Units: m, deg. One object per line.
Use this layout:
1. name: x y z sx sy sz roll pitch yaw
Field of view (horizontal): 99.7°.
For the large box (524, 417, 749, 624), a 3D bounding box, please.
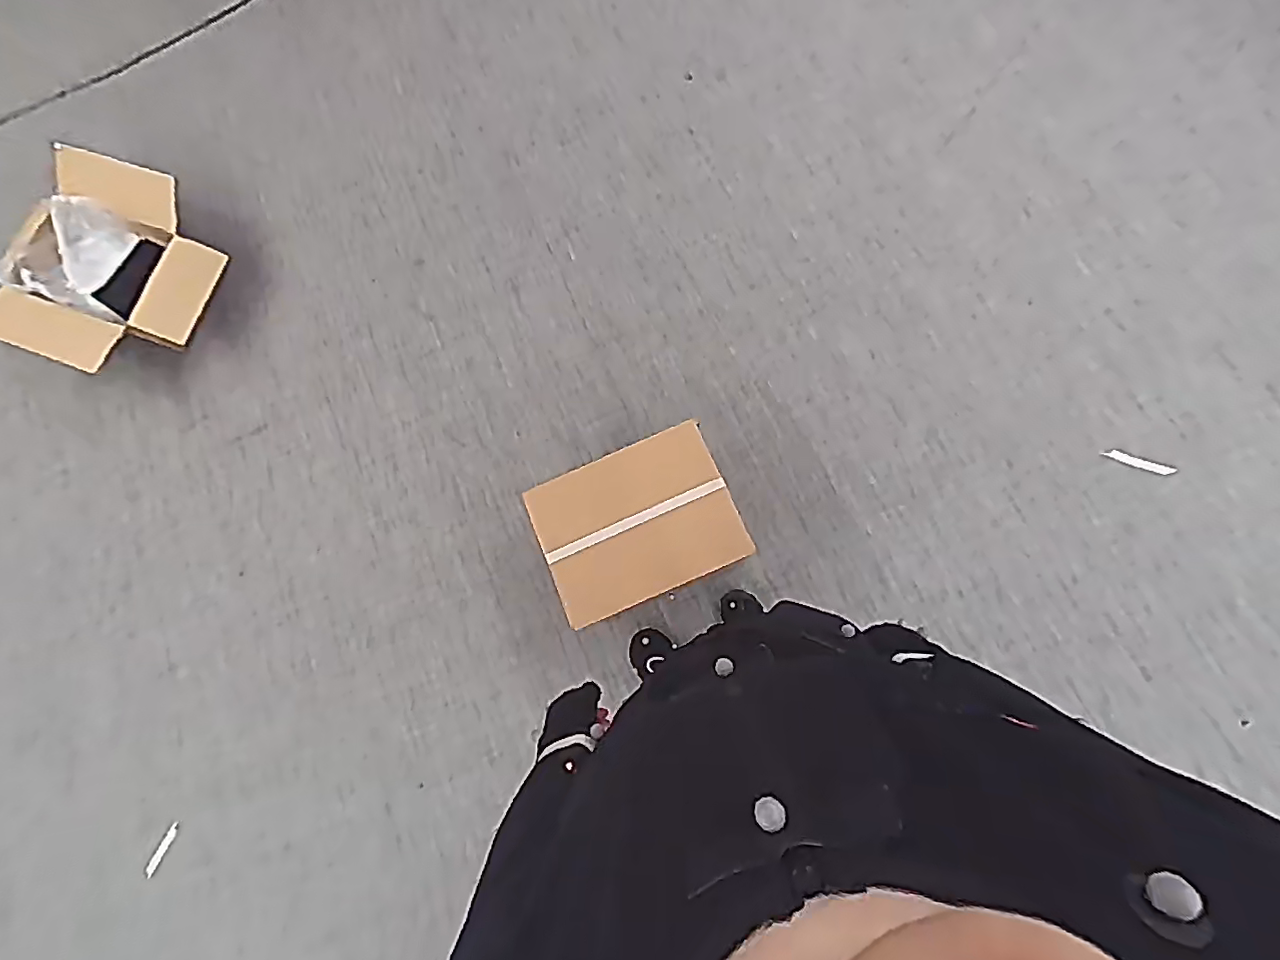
1. large box: -0.001 0.110 1.278 0.408 0.320 0.320 -24 78 1
